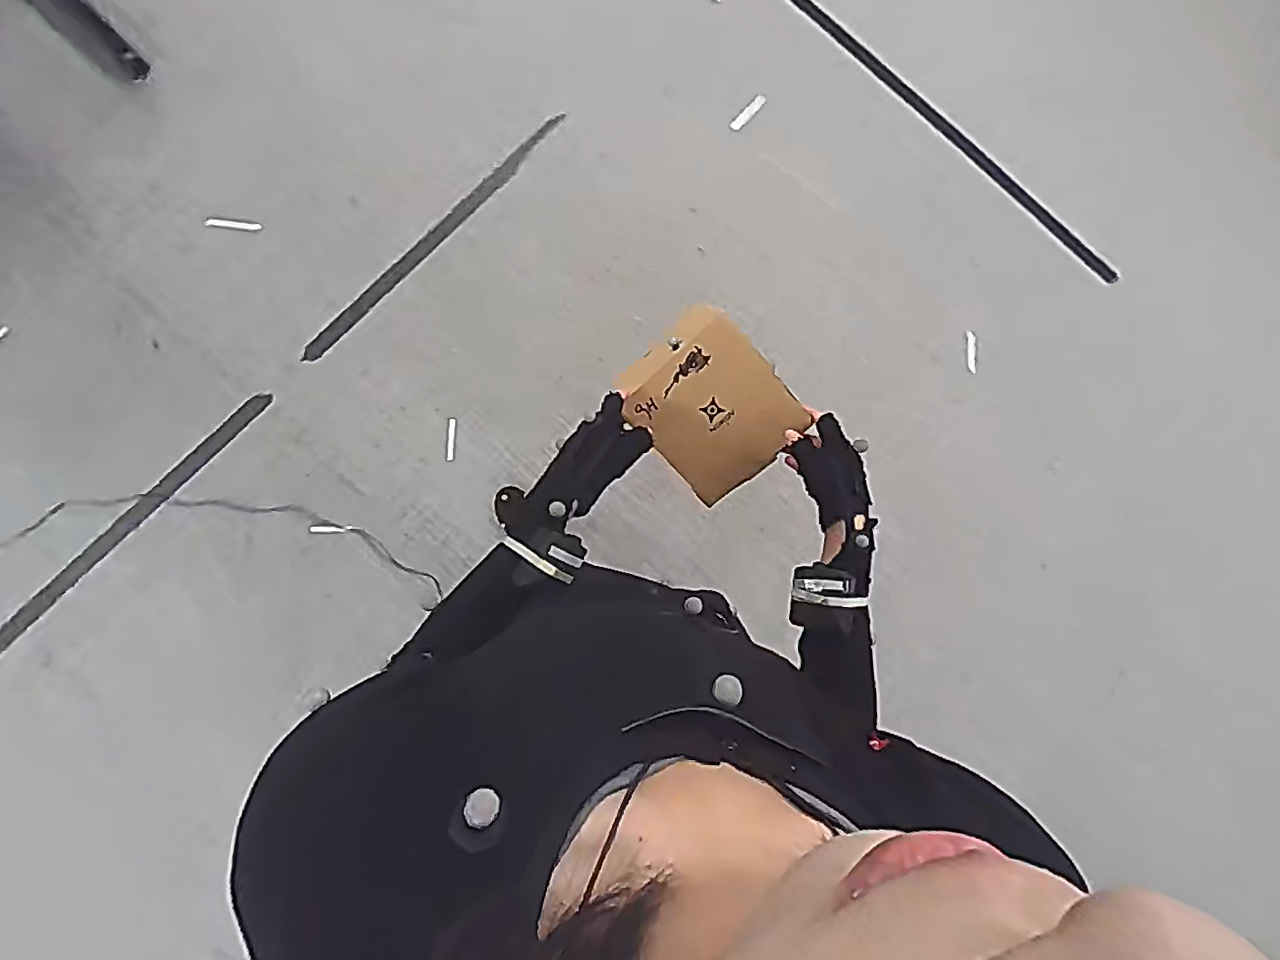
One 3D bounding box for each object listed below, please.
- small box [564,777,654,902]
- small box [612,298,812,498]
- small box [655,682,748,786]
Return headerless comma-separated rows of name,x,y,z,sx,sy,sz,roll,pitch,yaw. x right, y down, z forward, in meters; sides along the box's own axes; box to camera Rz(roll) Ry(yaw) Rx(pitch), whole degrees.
small box,-0.078,0.893,1.360,0.168,0.176,0.179,24,82,-2
small box,0.082,-0.114,0.691,0.168,0.176,0.179,-41,108,13
small box,0.153,0.646,1.402,0.179,0.176,0.168,23,83,-1
